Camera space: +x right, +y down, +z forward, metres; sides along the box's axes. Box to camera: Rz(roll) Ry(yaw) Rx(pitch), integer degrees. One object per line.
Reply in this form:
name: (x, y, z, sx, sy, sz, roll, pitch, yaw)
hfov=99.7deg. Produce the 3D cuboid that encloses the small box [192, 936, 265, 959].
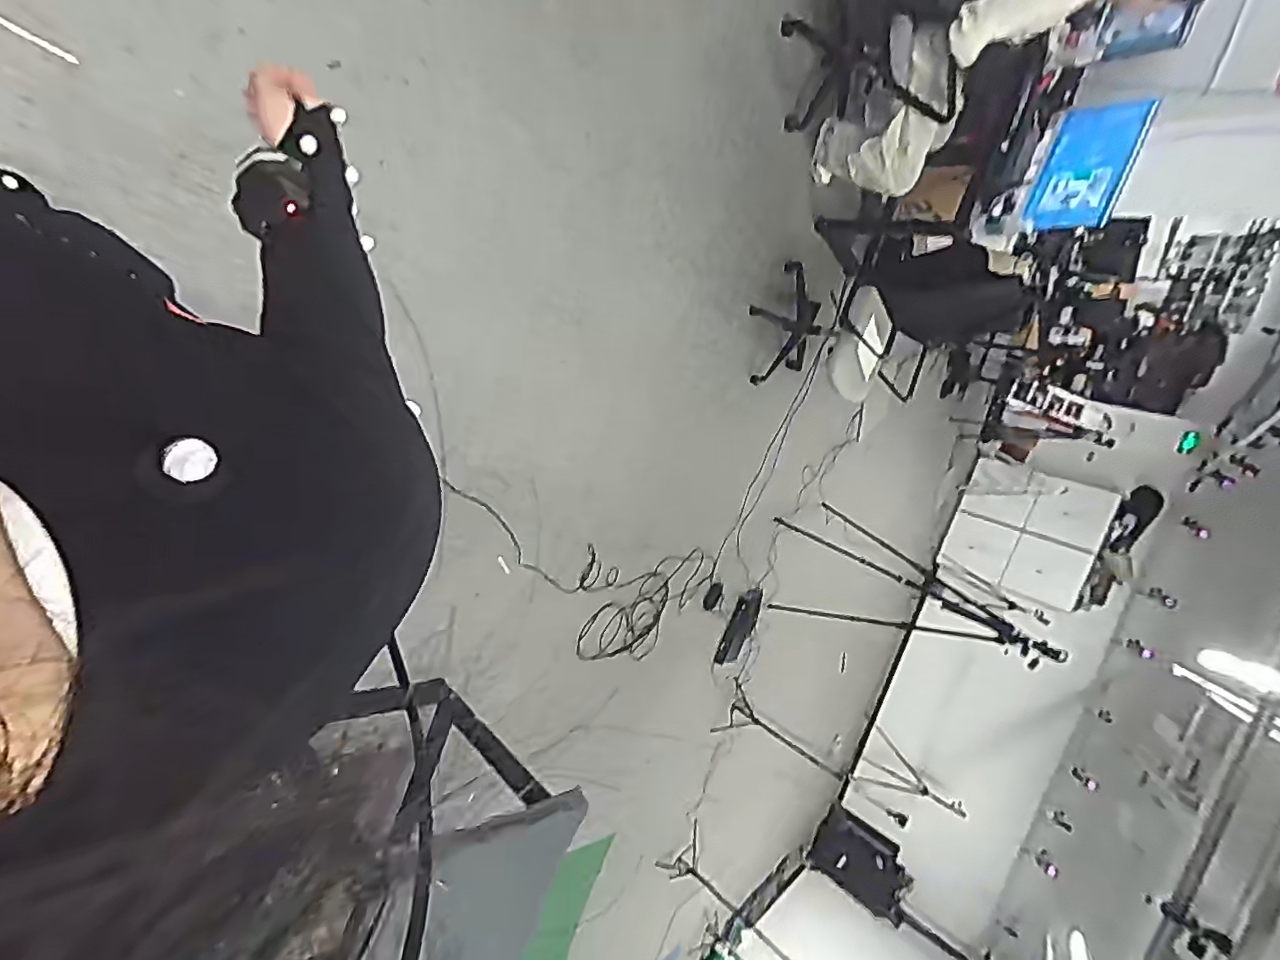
small box: (-1.248, 1.511, 1.611, 0.179, 0.176, 0.168, 9, 102, -52)
